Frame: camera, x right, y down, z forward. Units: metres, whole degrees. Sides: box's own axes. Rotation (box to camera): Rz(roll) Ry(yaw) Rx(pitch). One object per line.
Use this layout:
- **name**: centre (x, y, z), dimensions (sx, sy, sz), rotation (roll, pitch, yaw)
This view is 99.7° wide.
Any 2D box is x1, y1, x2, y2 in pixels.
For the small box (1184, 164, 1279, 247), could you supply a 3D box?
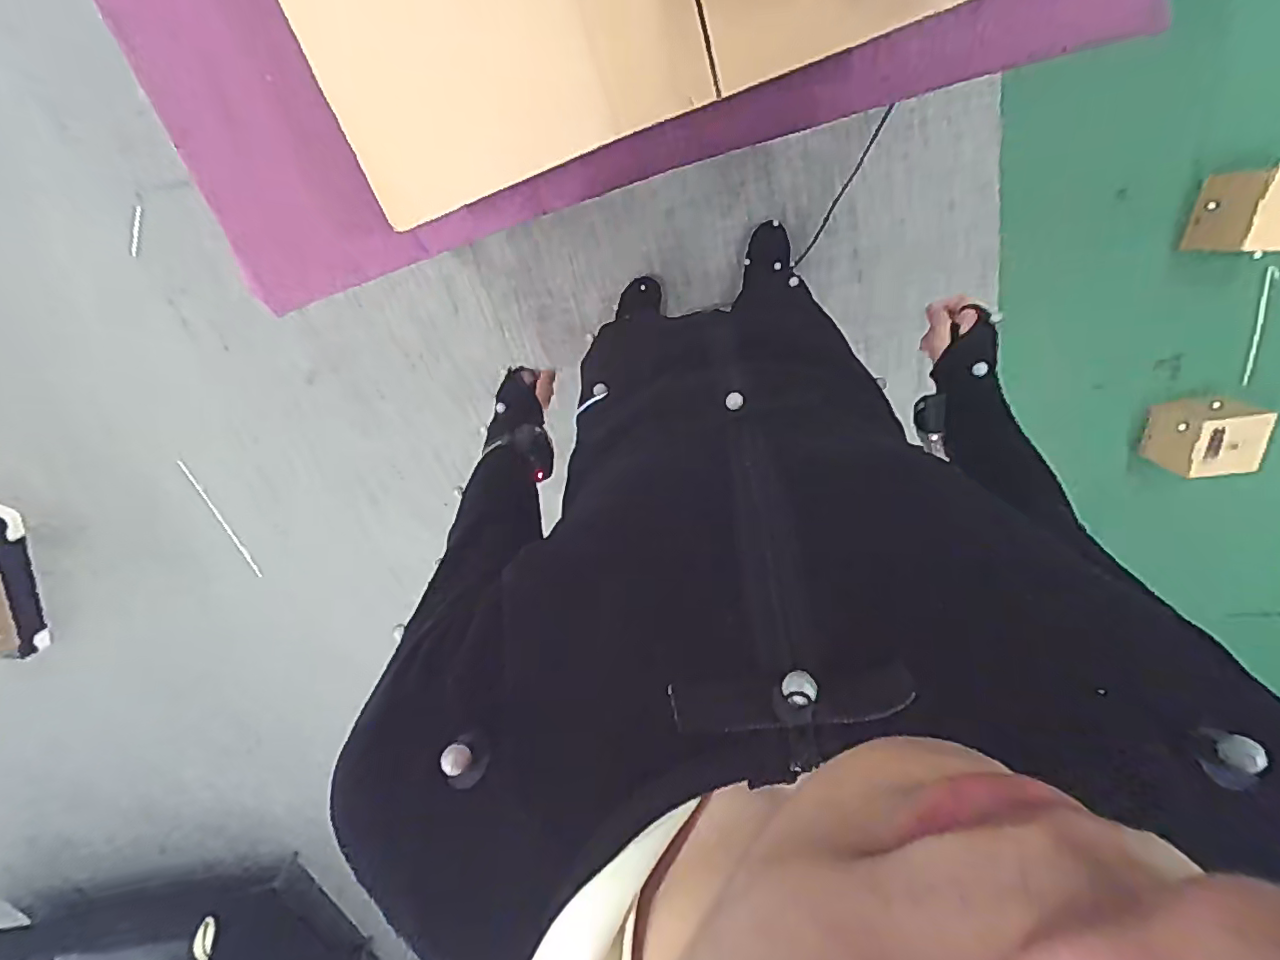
- **small box**: centre (1.449, -0.635, 1.252), dimensions (0.179, 0.176, 0.168), rotation (1, 116, 3)
